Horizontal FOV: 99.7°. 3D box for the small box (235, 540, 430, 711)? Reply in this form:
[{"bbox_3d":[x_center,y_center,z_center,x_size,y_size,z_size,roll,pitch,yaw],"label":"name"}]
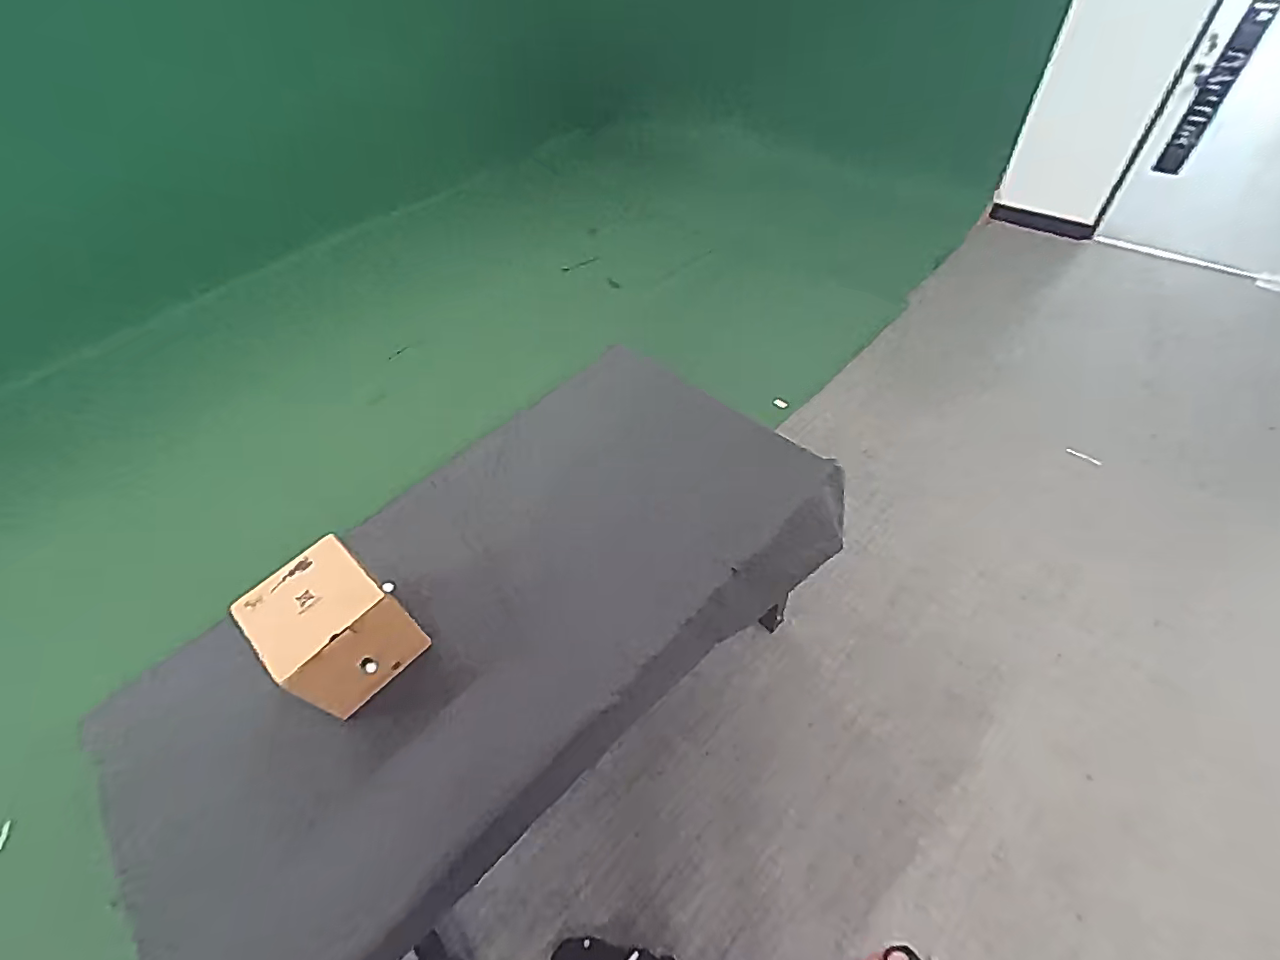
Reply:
[{"bbox_3d":[-0.464,0.232,0.841,0.179,0.176,0.168,30,62,28],"label":"small box"}]
